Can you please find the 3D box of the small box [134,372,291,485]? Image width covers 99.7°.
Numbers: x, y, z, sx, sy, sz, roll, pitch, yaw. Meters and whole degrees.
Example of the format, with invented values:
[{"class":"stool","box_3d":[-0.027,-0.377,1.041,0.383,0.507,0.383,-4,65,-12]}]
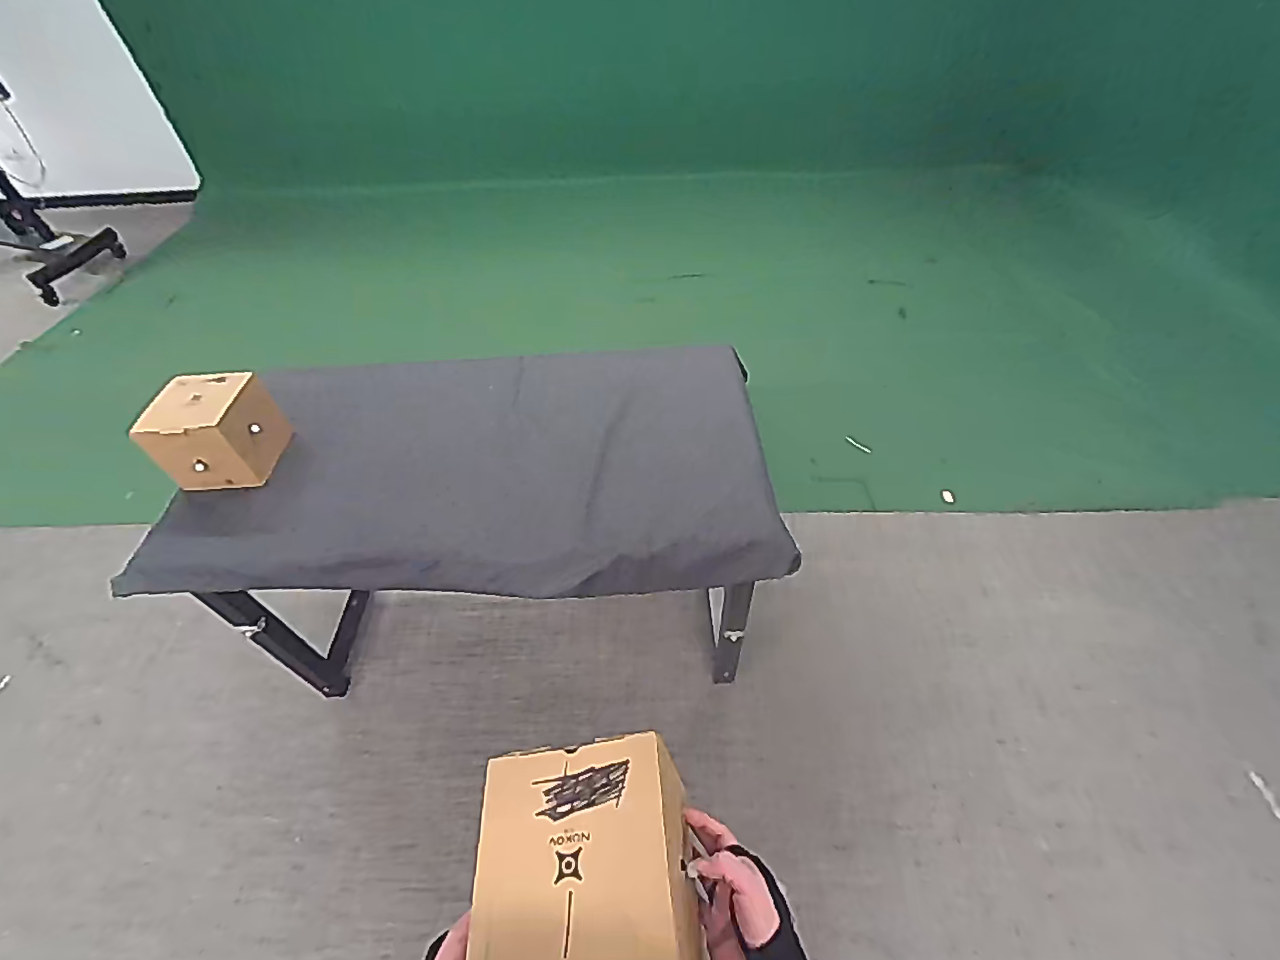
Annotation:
[{"class":"small box","box_3d":[-0.870,-0.101,1.126,0.168,0.176,0.179,-3,49,-2]}]
